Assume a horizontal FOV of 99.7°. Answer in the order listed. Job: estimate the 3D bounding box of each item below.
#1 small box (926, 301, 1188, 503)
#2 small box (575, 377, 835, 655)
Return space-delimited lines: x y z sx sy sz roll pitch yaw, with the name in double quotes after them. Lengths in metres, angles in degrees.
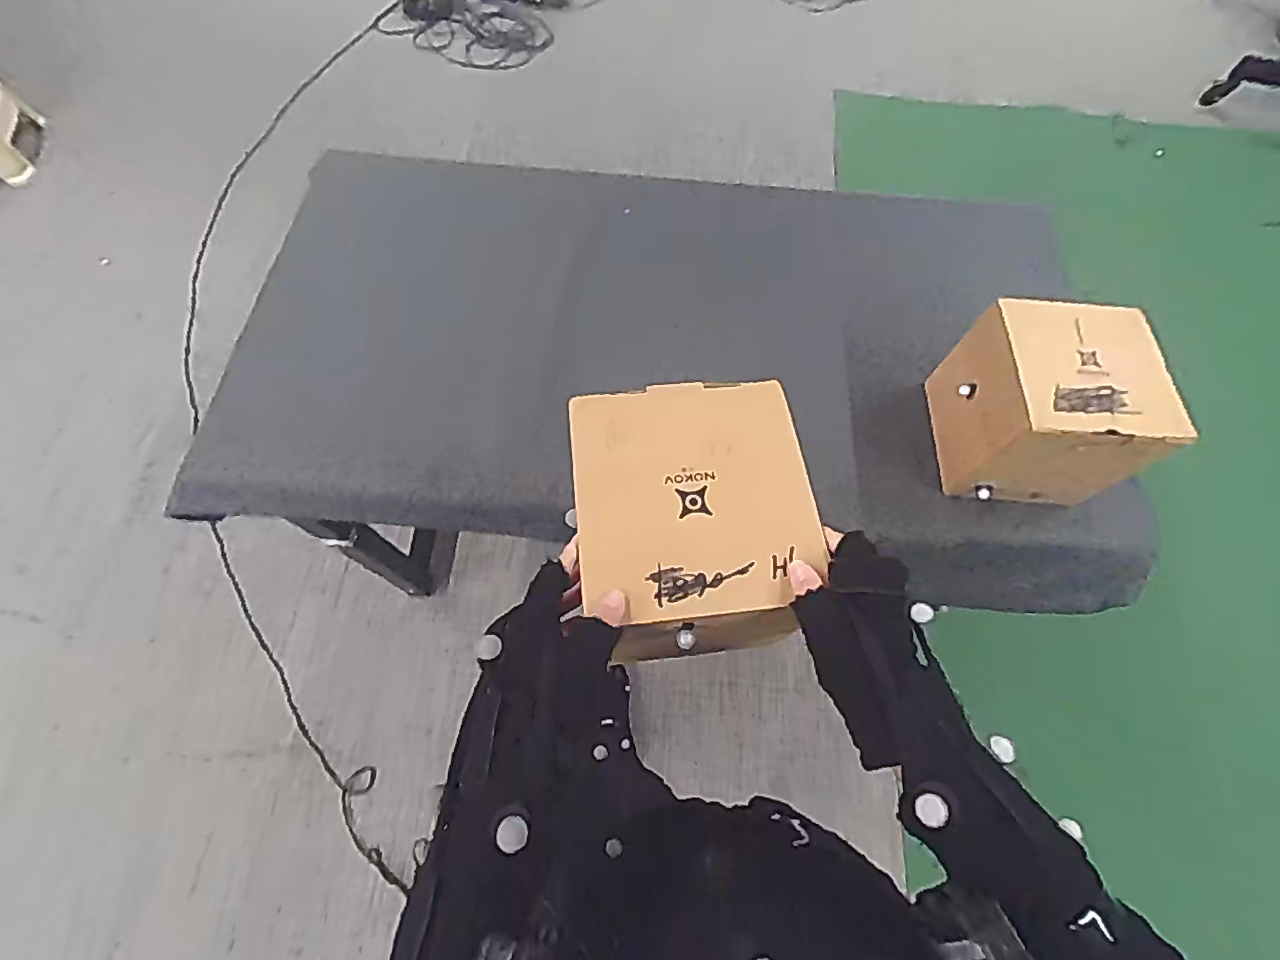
0.473 -0.085 0.649 0.168 0.176 0.179 5 64 0 "small box"
0.035 0.037 0.450 0.168 0.176 0.179 -5 65 -3 "small box"
